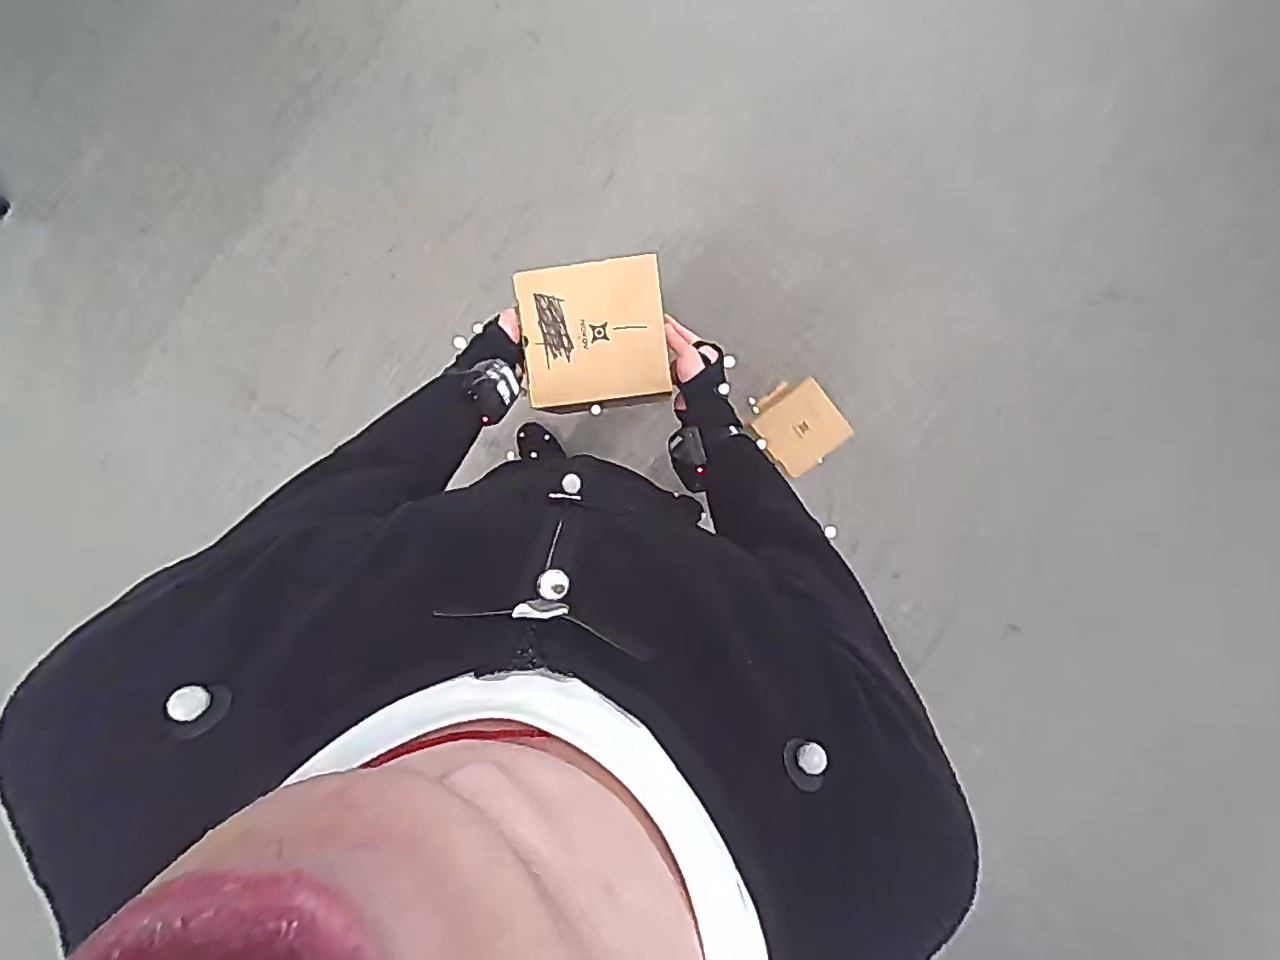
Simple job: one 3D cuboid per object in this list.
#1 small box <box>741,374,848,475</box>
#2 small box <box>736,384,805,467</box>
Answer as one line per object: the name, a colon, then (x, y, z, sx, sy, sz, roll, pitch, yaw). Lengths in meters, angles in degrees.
small box: (0.362, -0.133, 1.312, 0.179, 0.176, 0.168, -38, 95, 3)
small box: (0.371, -0.145, 1.467, 0.168, 0.176, 0.179, 17, 94, -2)
